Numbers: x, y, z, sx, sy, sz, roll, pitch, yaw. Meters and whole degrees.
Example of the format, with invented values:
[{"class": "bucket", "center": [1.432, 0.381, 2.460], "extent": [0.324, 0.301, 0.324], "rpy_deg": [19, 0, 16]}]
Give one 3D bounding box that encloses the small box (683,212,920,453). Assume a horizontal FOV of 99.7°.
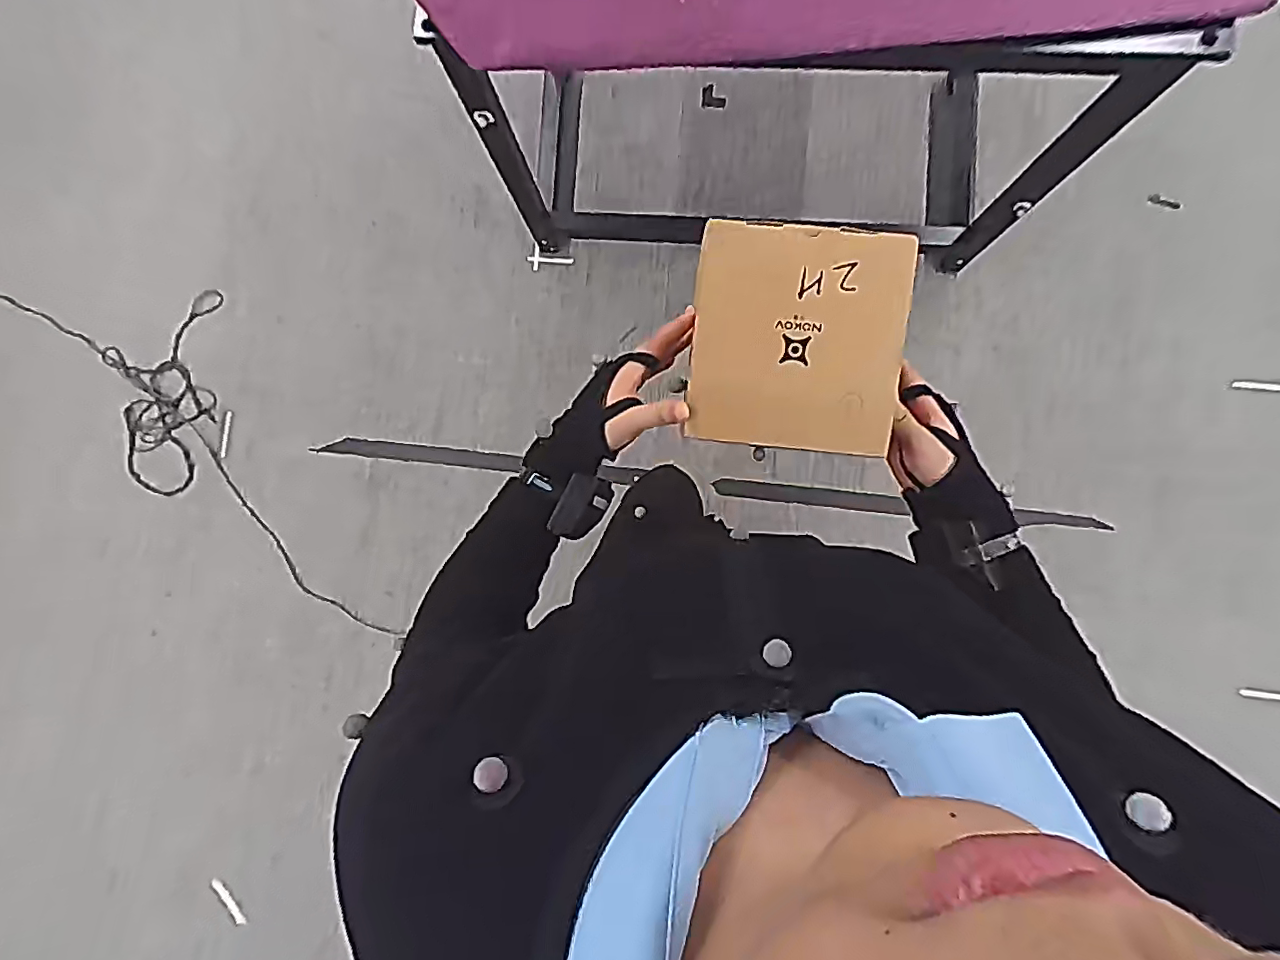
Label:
[{"class": "small box", "center": [0.131, -0.123, 0.506], "extent": [0.168, 0.176, 0.179], "rpy_deg": [6, 95, 3]}]
